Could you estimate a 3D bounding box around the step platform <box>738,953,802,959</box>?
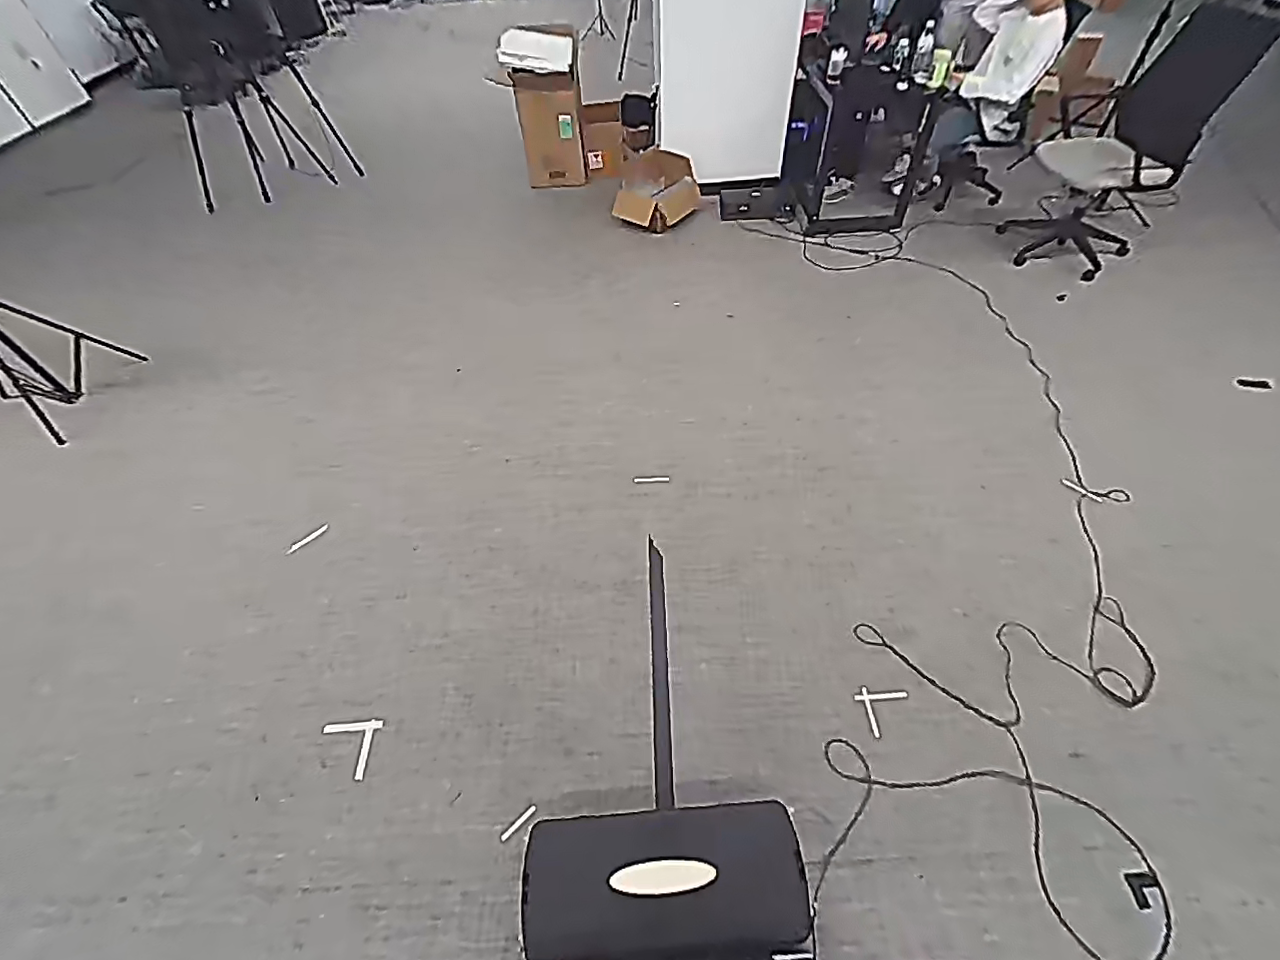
[{"bbox_3d":[0.037,1.155,1.077,0.684,0.204,0.286,-5,50,1],"label":"step platform"}]
